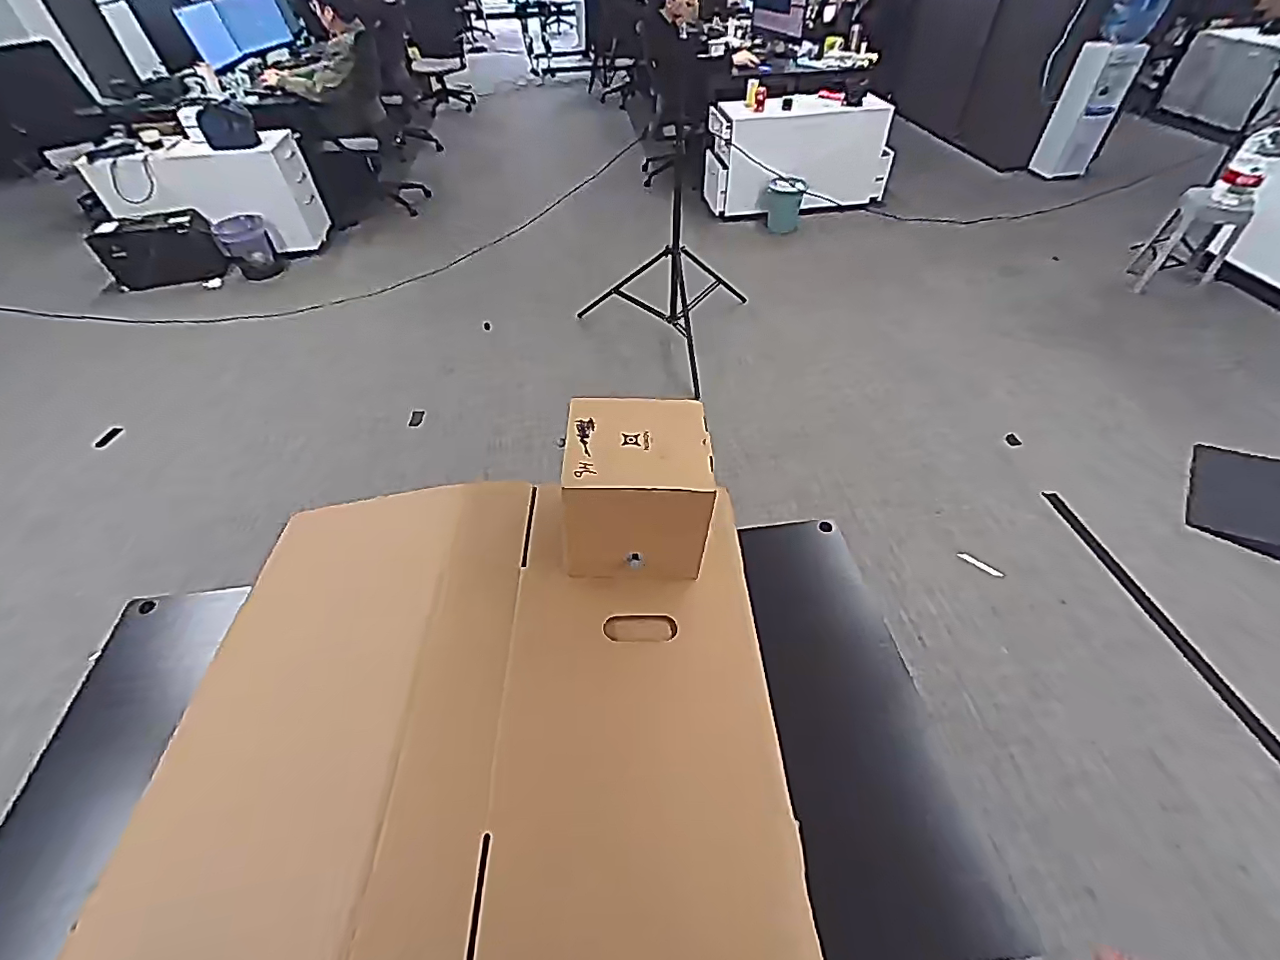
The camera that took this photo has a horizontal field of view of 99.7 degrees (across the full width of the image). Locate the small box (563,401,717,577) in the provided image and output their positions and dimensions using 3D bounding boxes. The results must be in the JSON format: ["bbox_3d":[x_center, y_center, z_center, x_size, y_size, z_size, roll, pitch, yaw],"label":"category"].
[{"bbox_3d":[-0.006,0.015,0.715,0.179,0.176,0.168,2,44,-3],"label":"small box"}]
